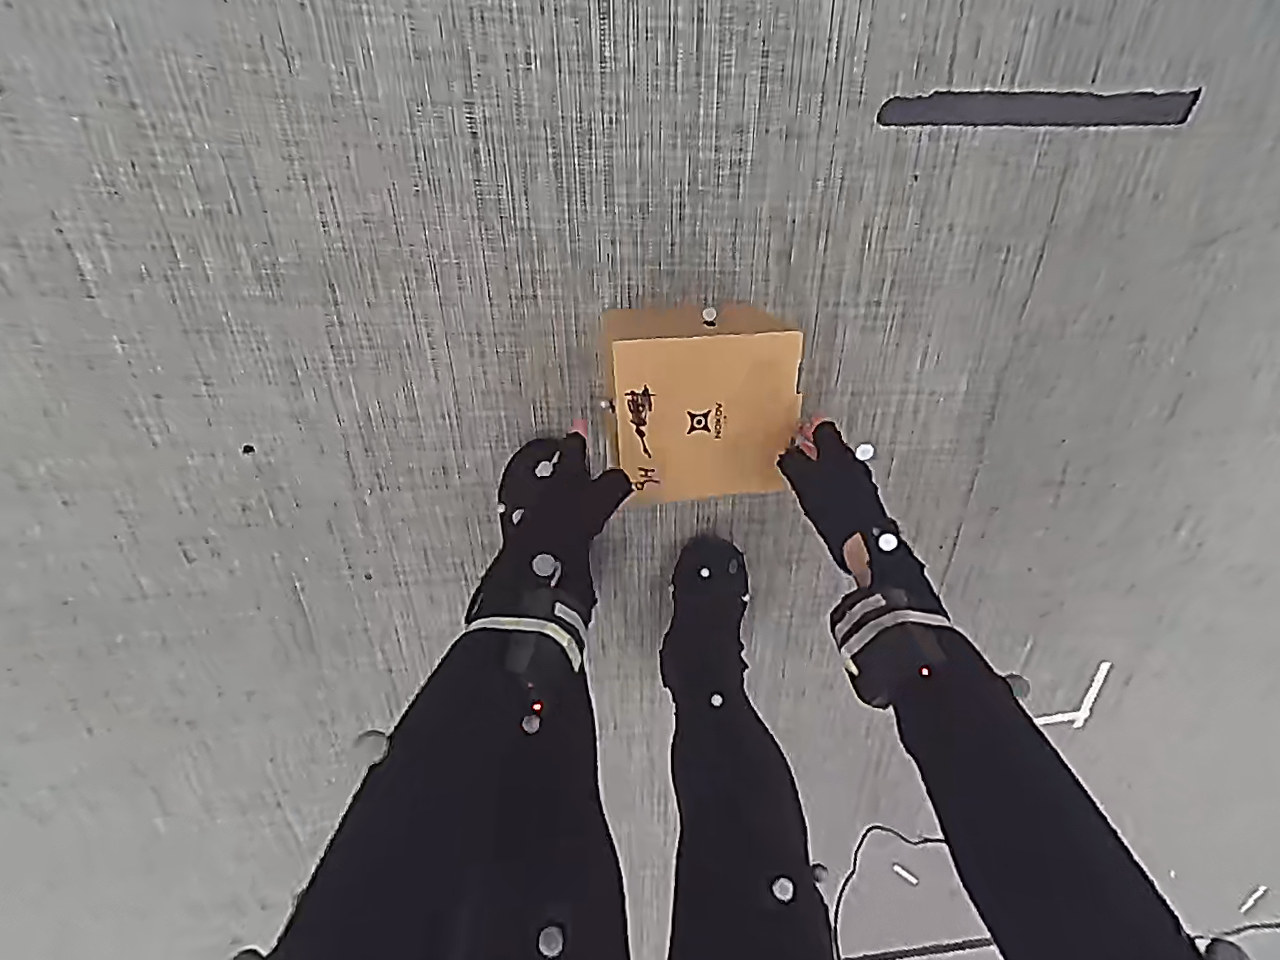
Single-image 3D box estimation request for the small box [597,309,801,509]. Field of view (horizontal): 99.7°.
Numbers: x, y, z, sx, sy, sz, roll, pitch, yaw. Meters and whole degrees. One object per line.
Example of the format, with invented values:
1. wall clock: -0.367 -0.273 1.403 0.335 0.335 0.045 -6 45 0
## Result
1. small box: 0.051 -0.086 0.584 0.179 0.176 0.168 -5 117 -6
